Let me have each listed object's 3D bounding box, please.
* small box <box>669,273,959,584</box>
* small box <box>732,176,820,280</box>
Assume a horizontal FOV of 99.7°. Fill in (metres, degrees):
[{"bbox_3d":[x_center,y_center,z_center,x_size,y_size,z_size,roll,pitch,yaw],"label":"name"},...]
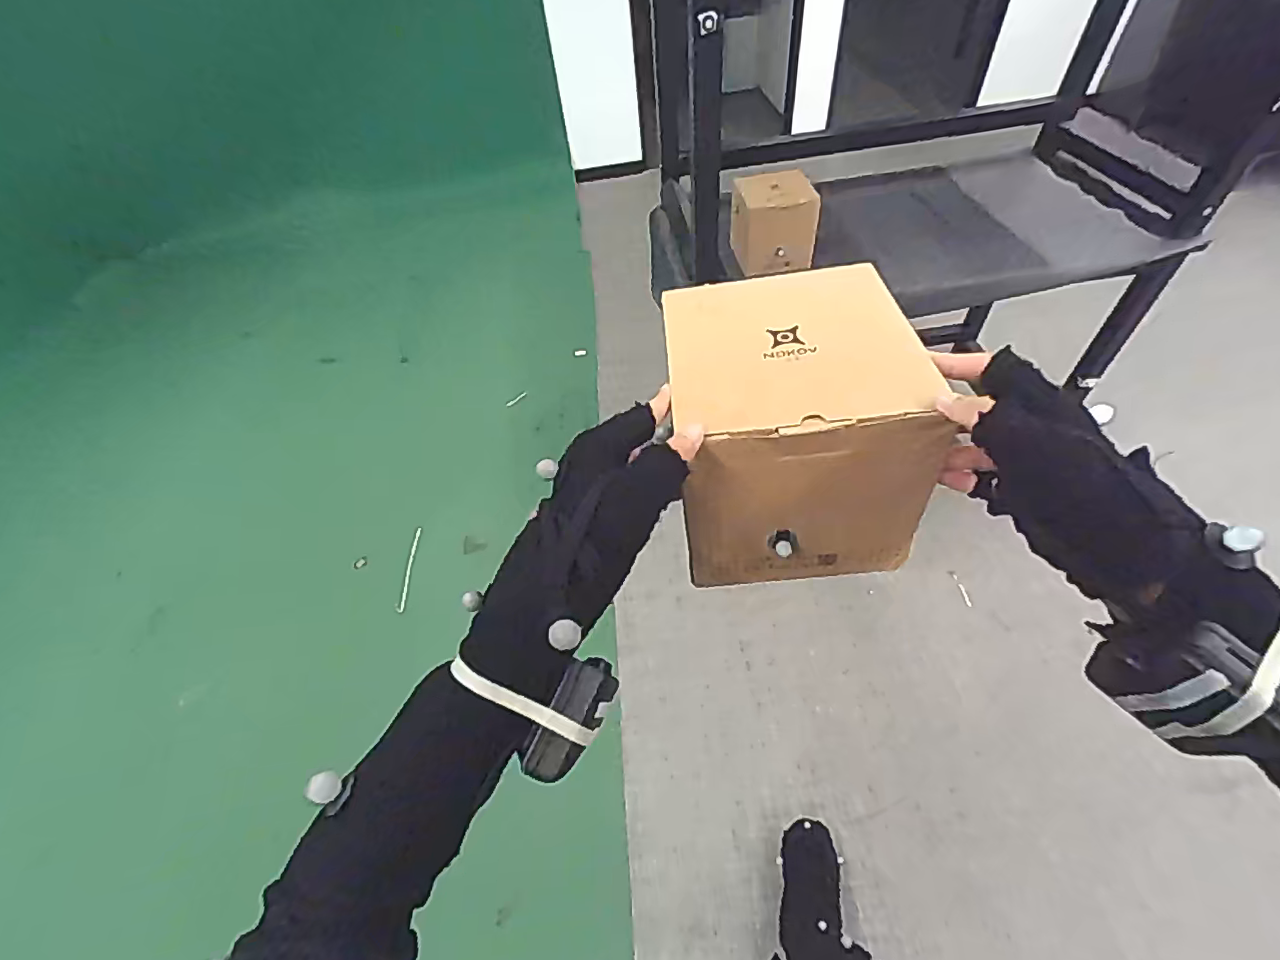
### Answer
[{"bbox_3d":[0.113,-0.038,0.433,0.168,0.176,0.179,-6,48,5],"label":"small box"},{"bbox_3d":[0.325,-0.620,1.335,0.168,0.176,0.179,-8,49,0],"label":"small box"}]
